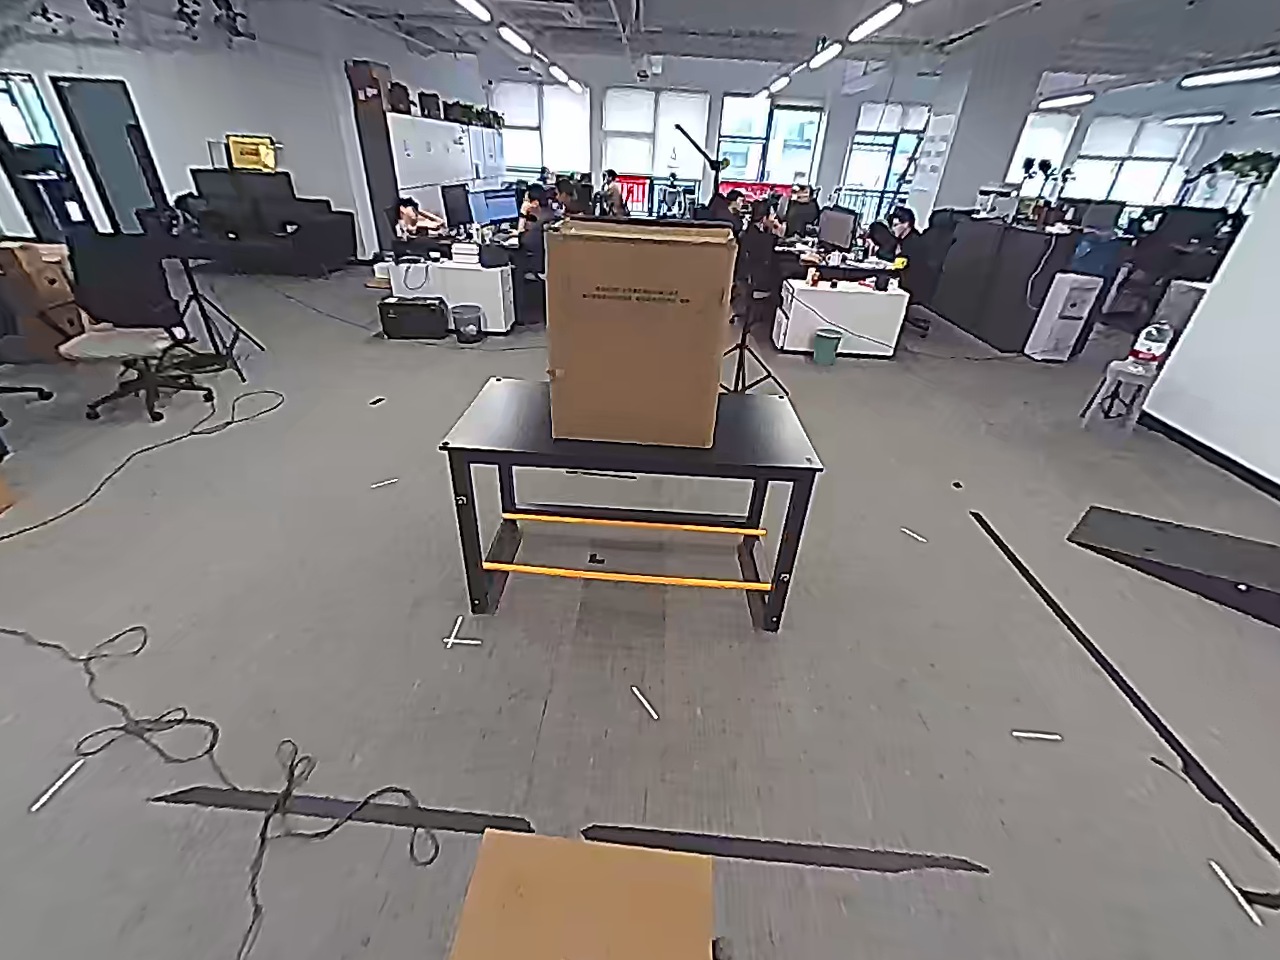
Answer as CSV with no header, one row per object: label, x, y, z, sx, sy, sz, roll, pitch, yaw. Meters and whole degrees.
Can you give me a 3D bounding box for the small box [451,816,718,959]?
small box,-0.036,0.367,0.374,0.168,0.176,0.179,3,41,5
